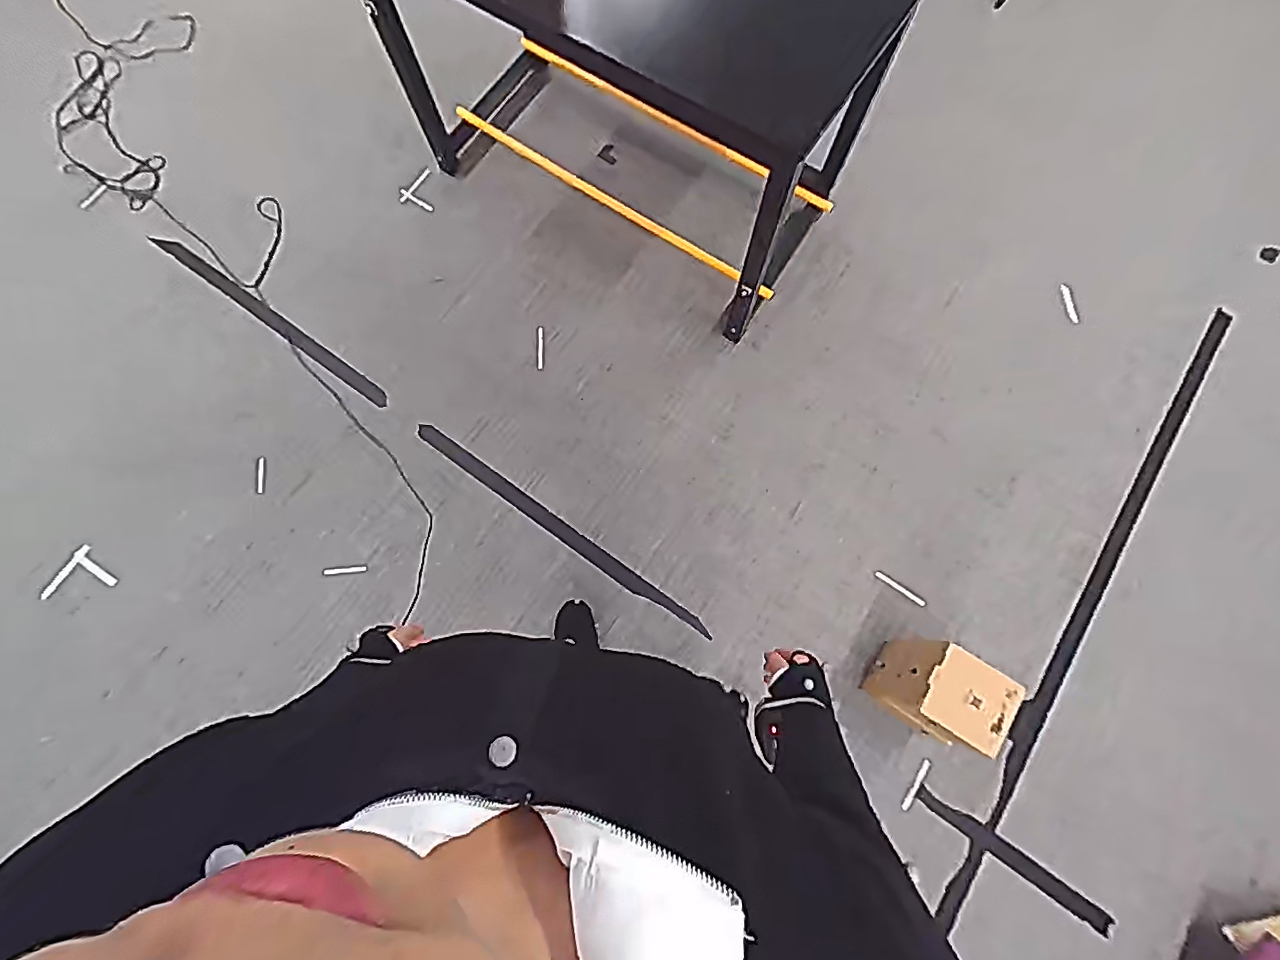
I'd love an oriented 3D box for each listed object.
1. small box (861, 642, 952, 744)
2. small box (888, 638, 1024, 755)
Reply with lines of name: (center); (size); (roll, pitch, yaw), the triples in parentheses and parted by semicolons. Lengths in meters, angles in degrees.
small box: (0.698, 0.523, 1.361); (0.179, 0.176, 0.168); (35, 79, 9)
small box: (0.692, 0.472, 1.205); (0.179, 0.176, 0.168); (33, 79, 9)
